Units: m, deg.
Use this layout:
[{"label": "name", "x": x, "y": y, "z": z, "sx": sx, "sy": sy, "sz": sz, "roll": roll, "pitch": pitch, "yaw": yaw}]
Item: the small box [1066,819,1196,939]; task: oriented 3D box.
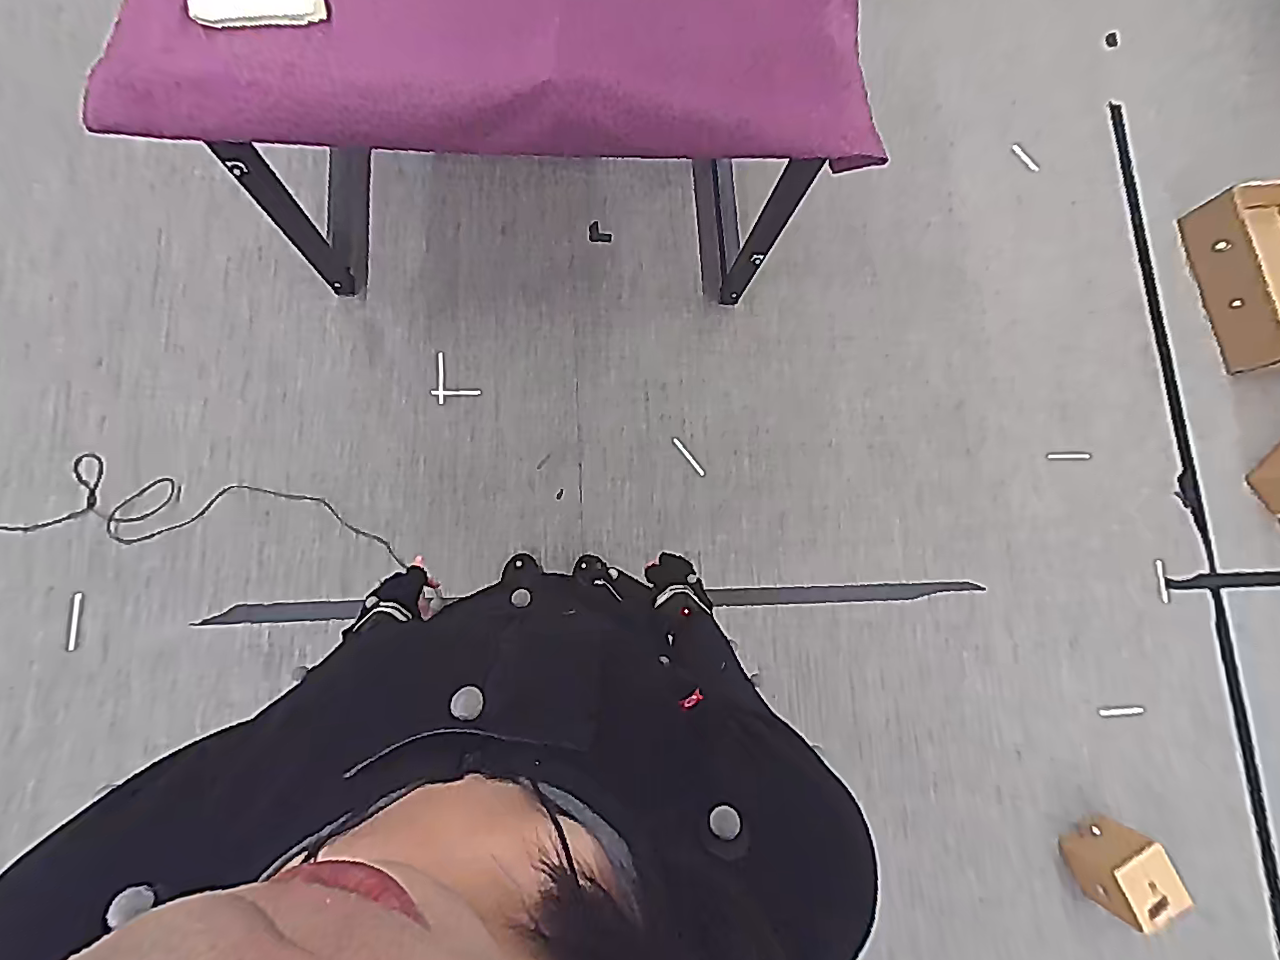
[{"label": "small box", "x": 1.343, "y": 1.089, "z": 1.491, "sx": 0.168, "sy": 0.176, "sz": 0.179, "roll": -24, "pitch": 84, "yaw": -10}]
